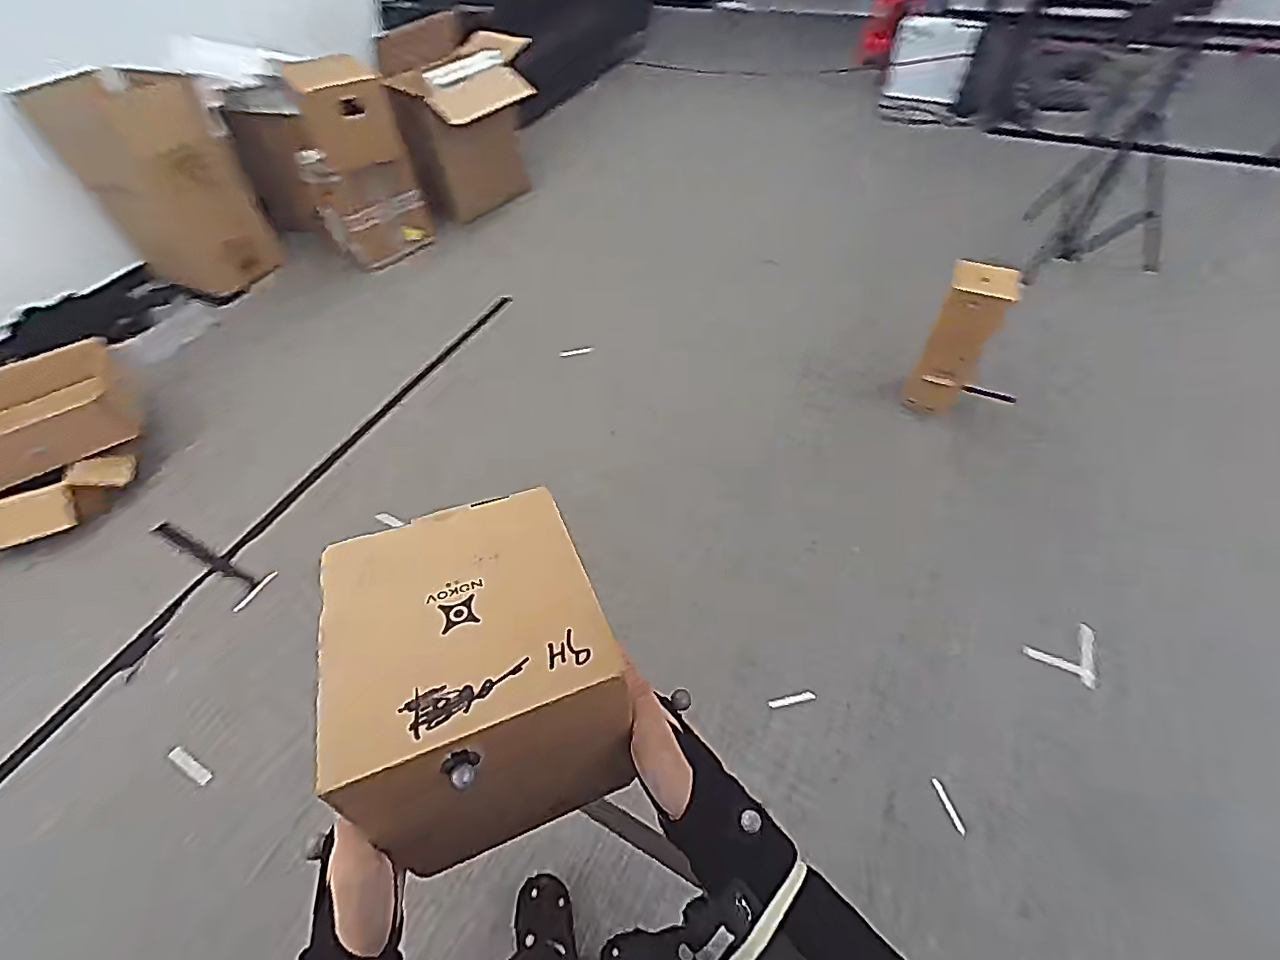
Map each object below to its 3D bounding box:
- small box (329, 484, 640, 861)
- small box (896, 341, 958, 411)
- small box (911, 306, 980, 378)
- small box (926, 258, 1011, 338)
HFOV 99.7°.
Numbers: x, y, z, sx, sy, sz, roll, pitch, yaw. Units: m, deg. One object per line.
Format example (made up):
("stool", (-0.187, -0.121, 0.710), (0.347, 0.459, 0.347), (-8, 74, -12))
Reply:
("small box", (-0.106, 0.135, 0.402), (0.168, 0.176, 0.179), (-16, 43, -14))
("small box", (1.056, -0.380, 1.980), (0.168, 0.176, 0.179), (18, 56, 17))
("small box", (1.048, -0.477, 1.851), (0.168, 0.176, 0.179), (19, 55, 16))
("small box", (1.043, -0.575, 1.721), (0.179, 0.176, 0.168), (18, 57, 17))
